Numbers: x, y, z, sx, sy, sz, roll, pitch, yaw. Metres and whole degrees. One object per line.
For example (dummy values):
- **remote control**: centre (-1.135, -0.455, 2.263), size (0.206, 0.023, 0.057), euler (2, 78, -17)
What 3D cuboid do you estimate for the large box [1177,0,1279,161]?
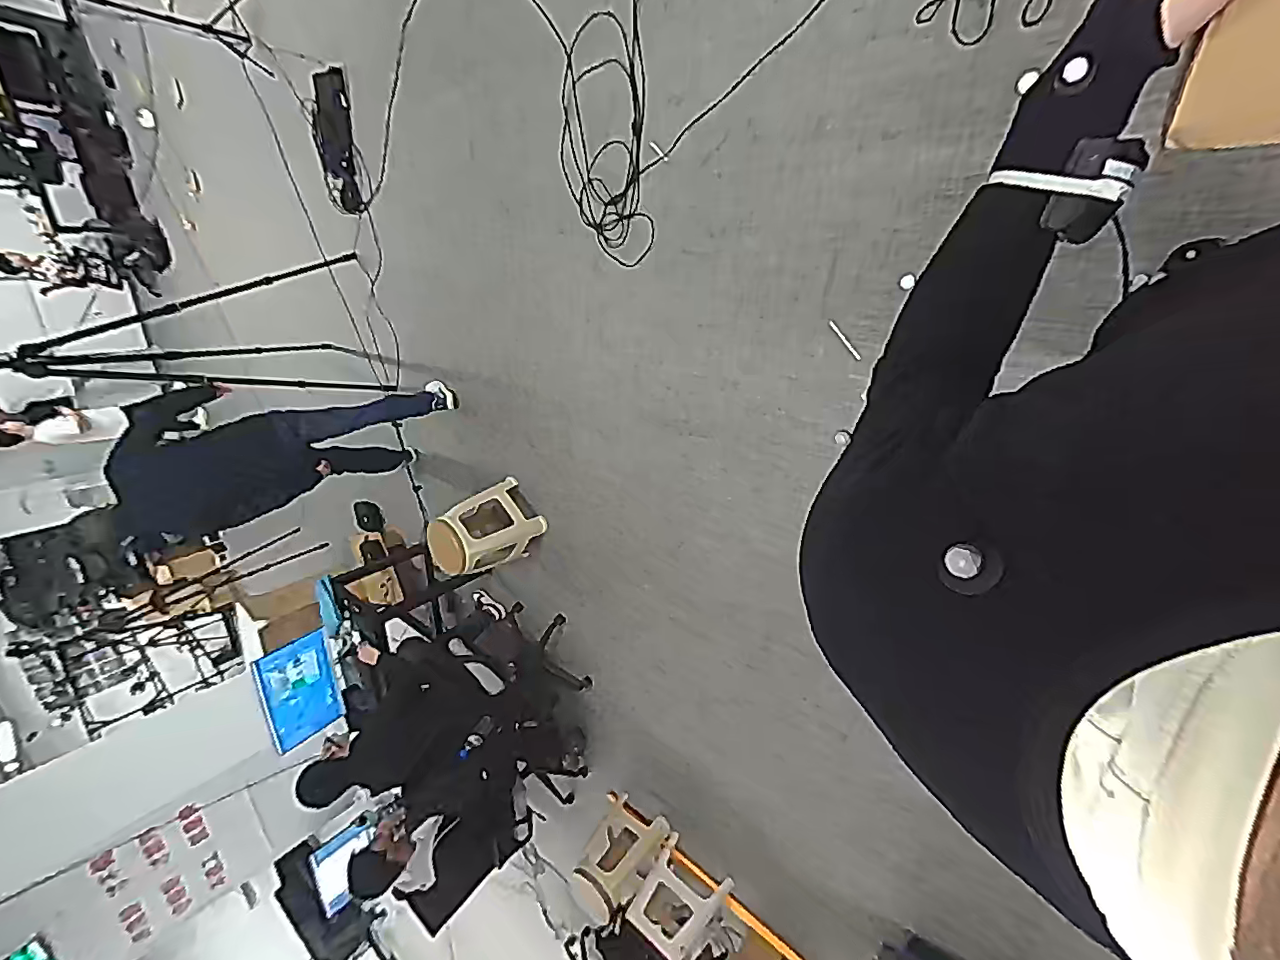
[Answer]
- **large box**: centre (0.592, -0.391, 0.266), size (0.408, 0.320, 0.320), euler (17, 141, 33)
